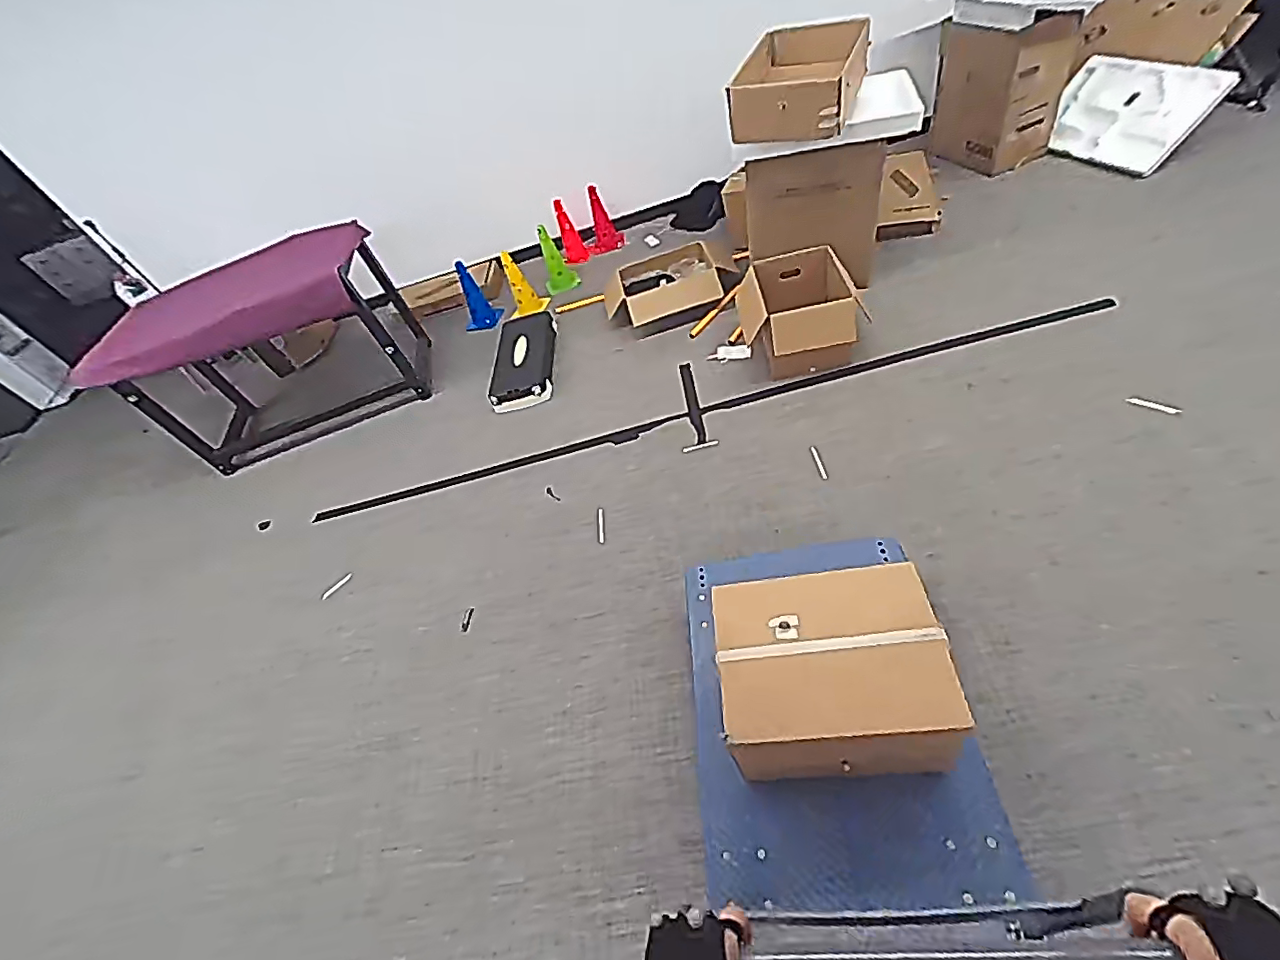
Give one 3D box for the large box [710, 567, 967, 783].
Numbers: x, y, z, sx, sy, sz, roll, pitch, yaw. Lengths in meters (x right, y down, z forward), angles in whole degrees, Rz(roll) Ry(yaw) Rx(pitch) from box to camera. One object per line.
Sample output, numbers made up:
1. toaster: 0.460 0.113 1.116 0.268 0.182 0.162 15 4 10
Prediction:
1. large box: 0.384 0.418 1.125 0.408 0.320 0.320 -11 48 12
